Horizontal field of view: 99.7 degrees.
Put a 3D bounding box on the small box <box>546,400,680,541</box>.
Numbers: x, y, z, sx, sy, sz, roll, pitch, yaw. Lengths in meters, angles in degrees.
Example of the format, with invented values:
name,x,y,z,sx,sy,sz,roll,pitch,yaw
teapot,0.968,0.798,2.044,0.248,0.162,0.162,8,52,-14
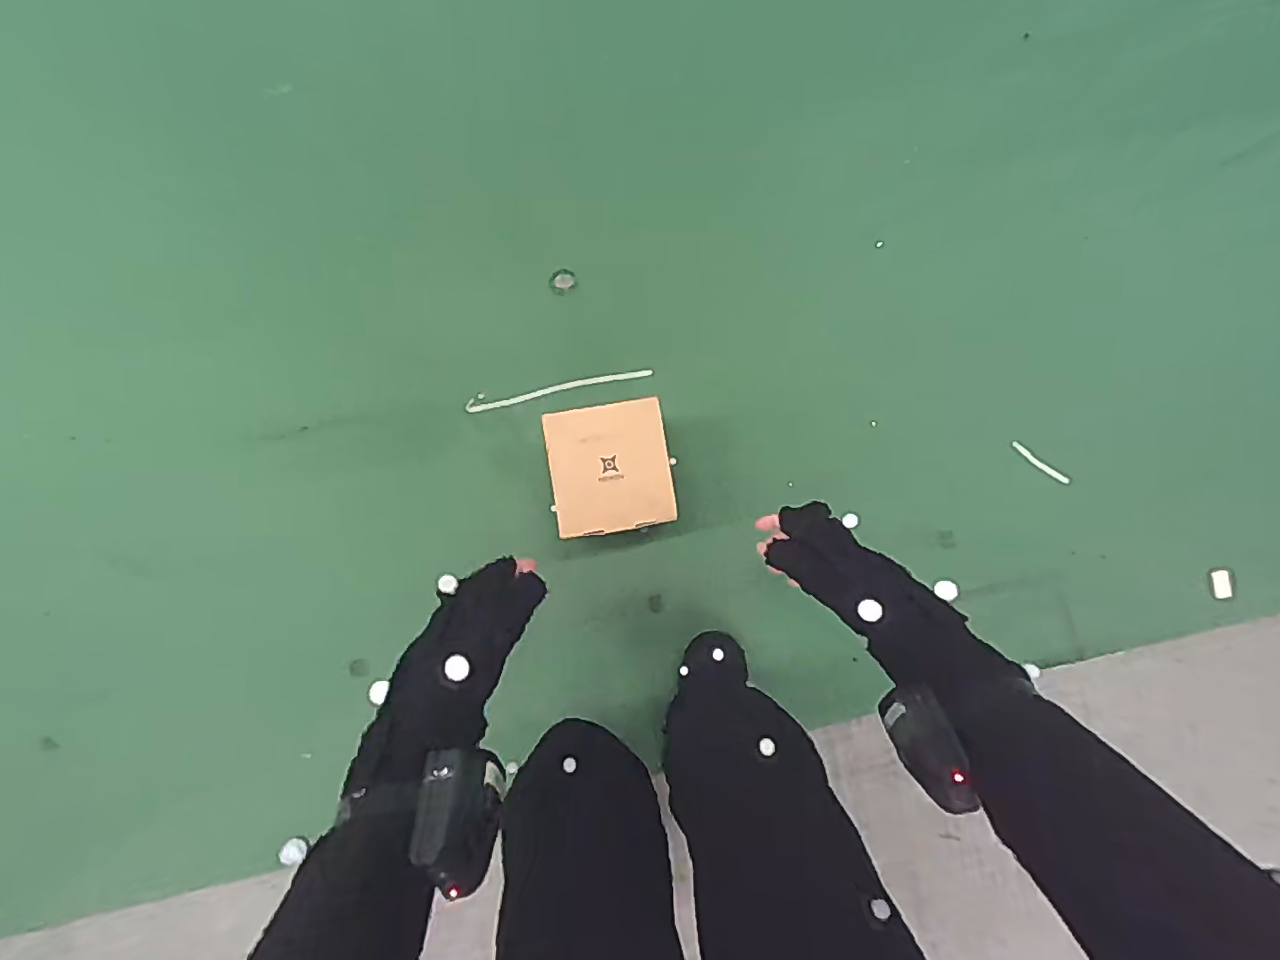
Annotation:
name,x,y,z,sx,sy,sz,roll,pitch,yaw
small box,-0.040,-0.011,0.801,0.168,0.176,0.179,-7,88,-4
